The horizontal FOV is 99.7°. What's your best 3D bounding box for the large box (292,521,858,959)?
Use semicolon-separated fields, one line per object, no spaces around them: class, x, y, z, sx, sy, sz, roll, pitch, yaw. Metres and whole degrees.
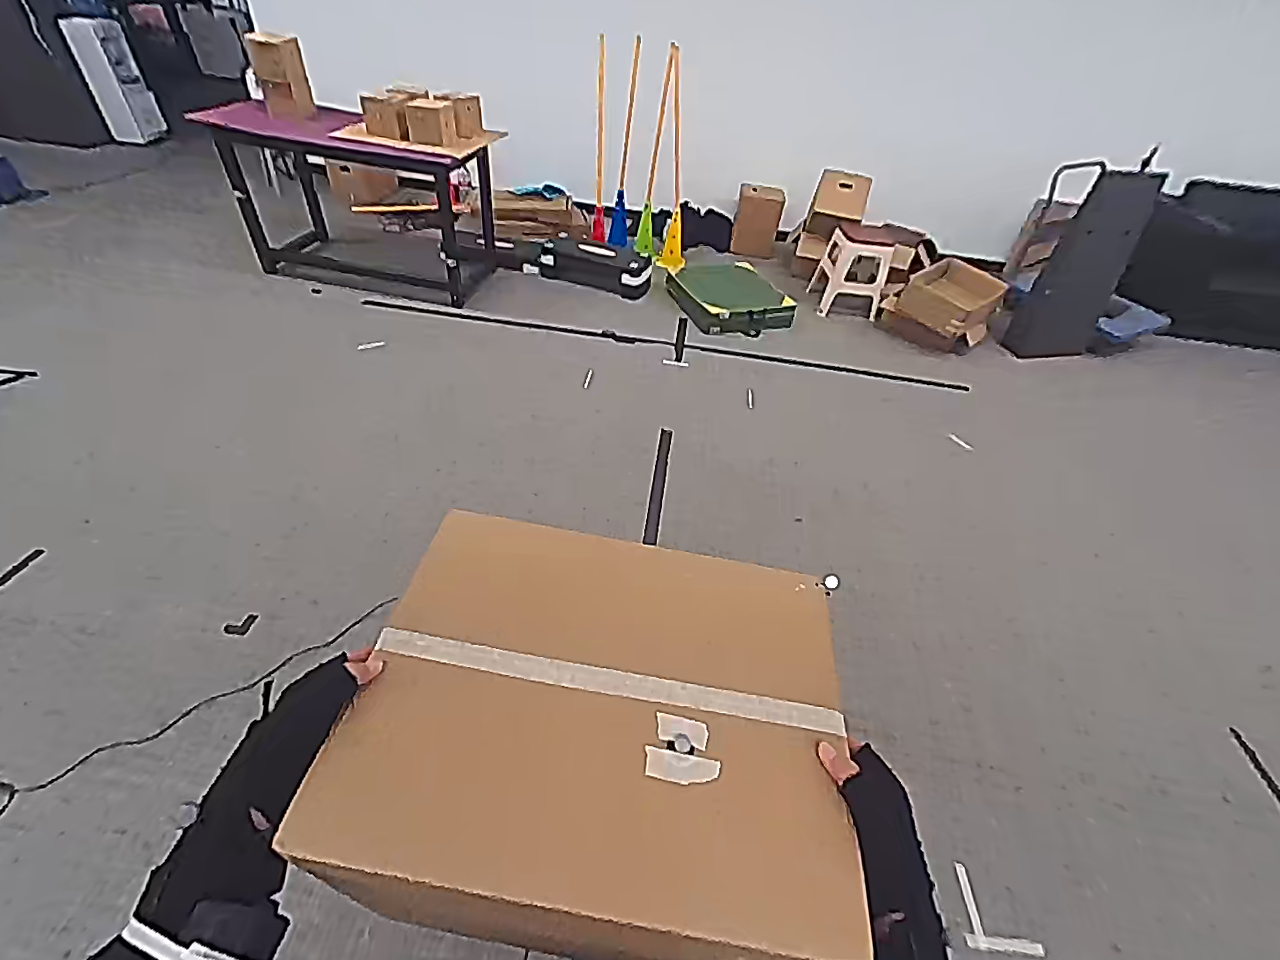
large box;-0.046;0.285;0.577;0.408;0.320;0.320;11;45;1
